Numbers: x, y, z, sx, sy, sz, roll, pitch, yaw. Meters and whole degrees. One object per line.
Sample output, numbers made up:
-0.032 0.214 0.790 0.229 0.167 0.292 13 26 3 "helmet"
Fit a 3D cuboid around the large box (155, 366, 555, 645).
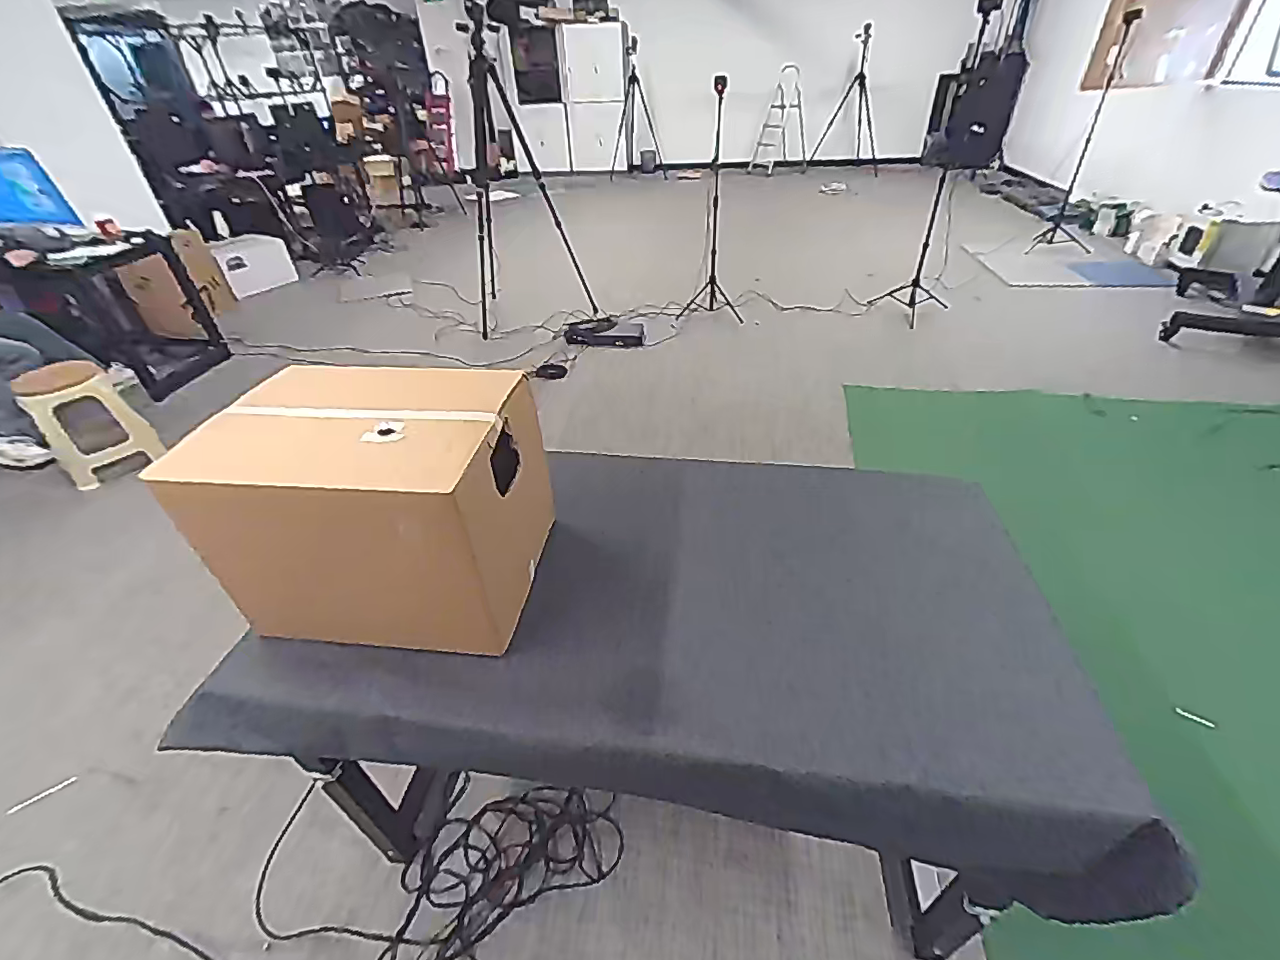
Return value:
-0.375 0.031 0.841 0.408 0.320 0.320 3 38 5 "large box"
